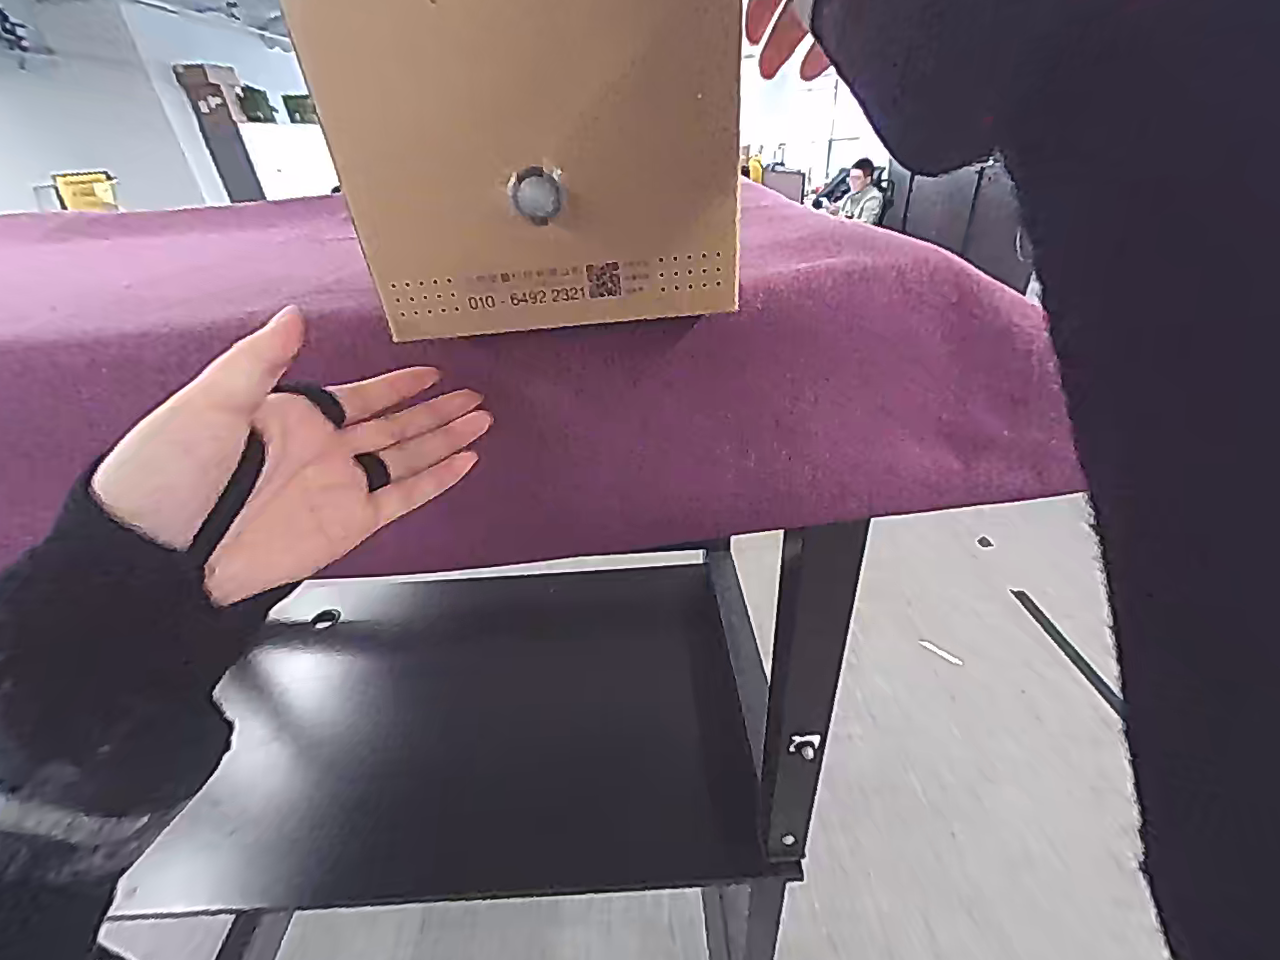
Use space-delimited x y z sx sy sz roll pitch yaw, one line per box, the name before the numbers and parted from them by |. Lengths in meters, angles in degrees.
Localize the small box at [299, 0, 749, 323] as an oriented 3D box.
small box | -0.042 -0.187 0.271 0.168 0.176 0.179 -5 33 2
